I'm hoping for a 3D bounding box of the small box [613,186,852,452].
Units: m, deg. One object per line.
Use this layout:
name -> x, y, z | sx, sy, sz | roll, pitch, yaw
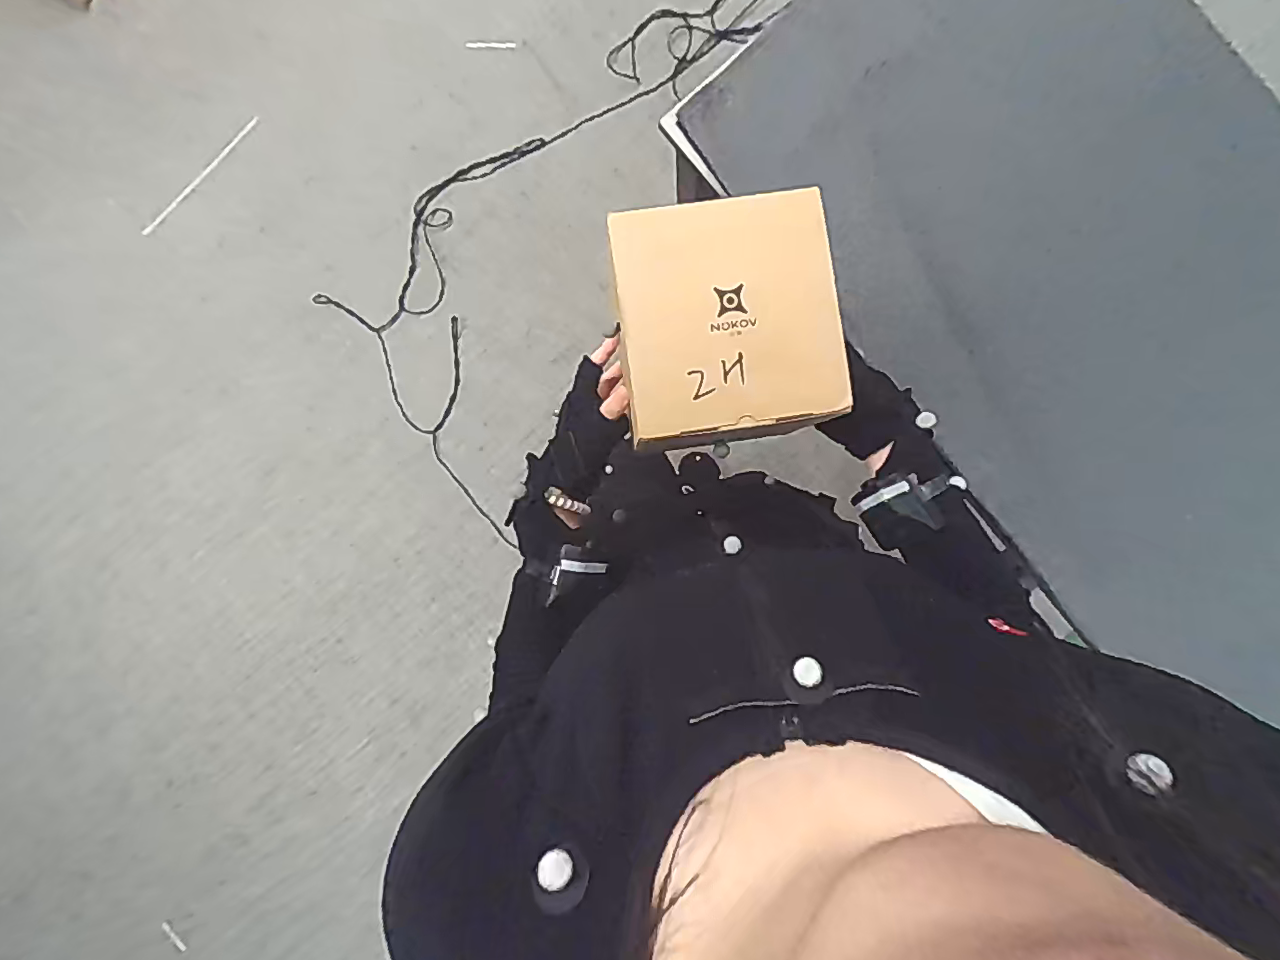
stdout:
small box -> 0.066, -0.127, 0.486 | 0.168, 0.176, 0.179 | -8, 90, -2
